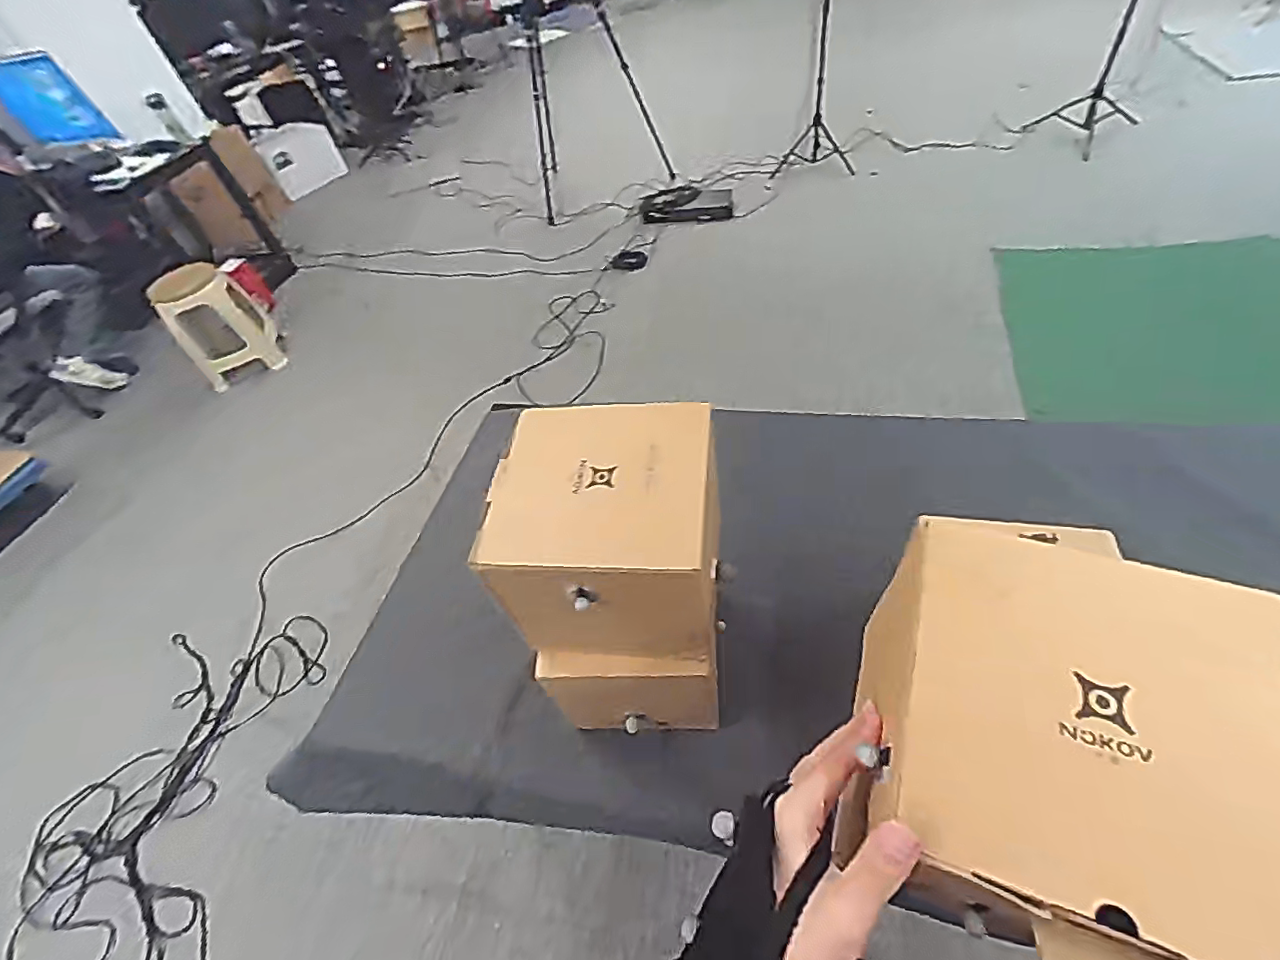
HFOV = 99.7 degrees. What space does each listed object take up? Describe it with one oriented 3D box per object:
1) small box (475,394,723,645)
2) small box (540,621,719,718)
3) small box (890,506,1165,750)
[{"bbox_3d":[-0.018,0.040,0.495,0.179,0.176,0.168,0,53,11],"label":"small box"},{"bbox_3d":[0.002,0.153,0.612,0.168,0.176,0.179,-4,52,9],"label":"small box"},{"bbox_3d":[0.354,0.149,0.540,0.168,0.176,0.179,4,53,16],"label":"small box"}]
